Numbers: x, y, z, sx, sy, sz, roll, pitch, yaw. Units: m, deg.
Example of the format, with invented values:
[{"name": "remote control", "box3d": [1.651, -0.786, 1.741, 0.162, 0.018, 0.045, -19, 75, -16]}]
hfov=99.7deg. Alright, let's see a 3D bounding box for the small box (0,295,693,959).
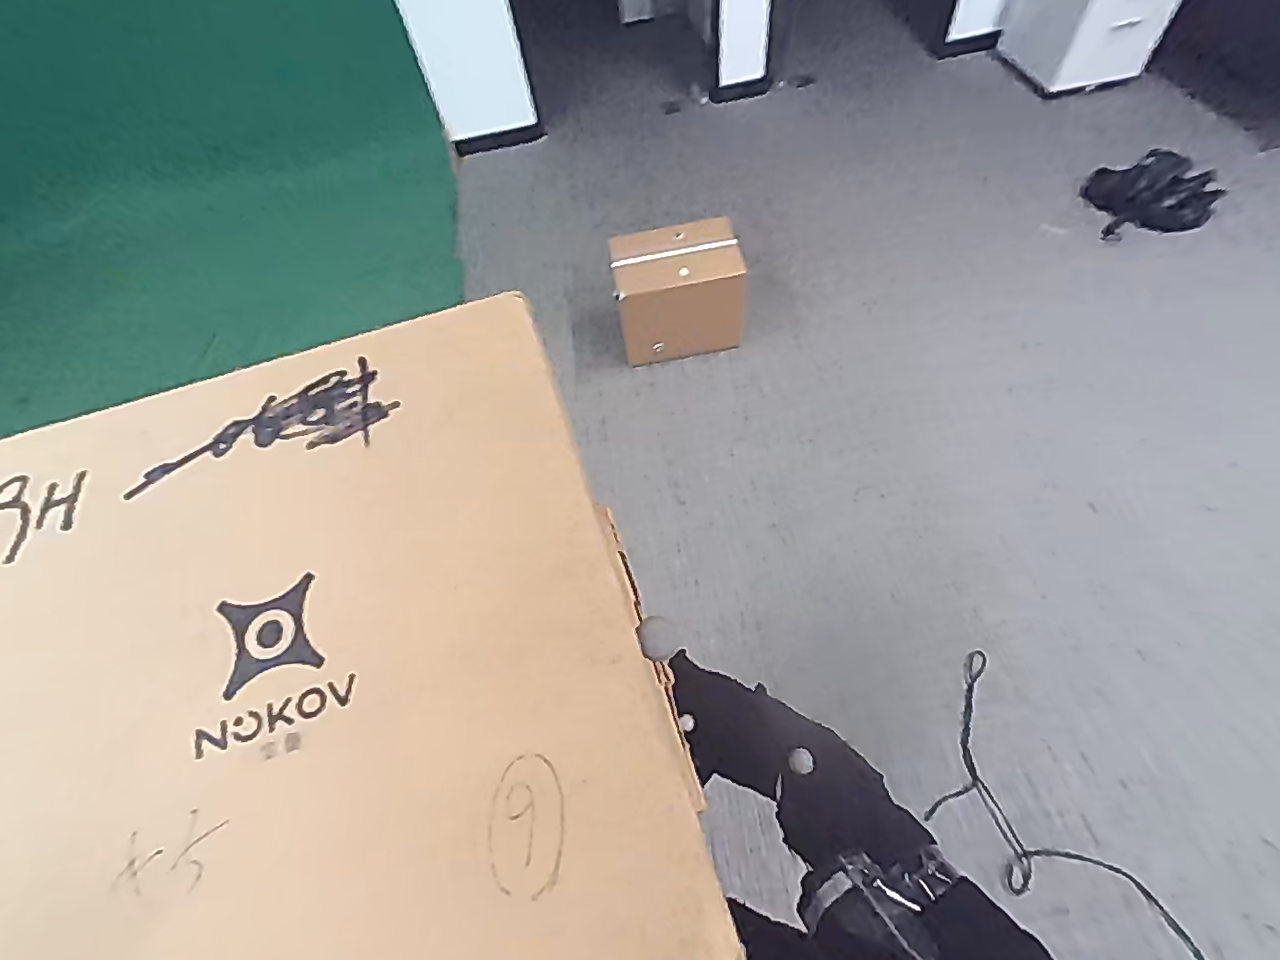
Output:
[{"name": "small box", "box3d": [-0.086, 0.072, 0.205, 0.168, 0.176, 0.179, -19, 70, -5]}]
